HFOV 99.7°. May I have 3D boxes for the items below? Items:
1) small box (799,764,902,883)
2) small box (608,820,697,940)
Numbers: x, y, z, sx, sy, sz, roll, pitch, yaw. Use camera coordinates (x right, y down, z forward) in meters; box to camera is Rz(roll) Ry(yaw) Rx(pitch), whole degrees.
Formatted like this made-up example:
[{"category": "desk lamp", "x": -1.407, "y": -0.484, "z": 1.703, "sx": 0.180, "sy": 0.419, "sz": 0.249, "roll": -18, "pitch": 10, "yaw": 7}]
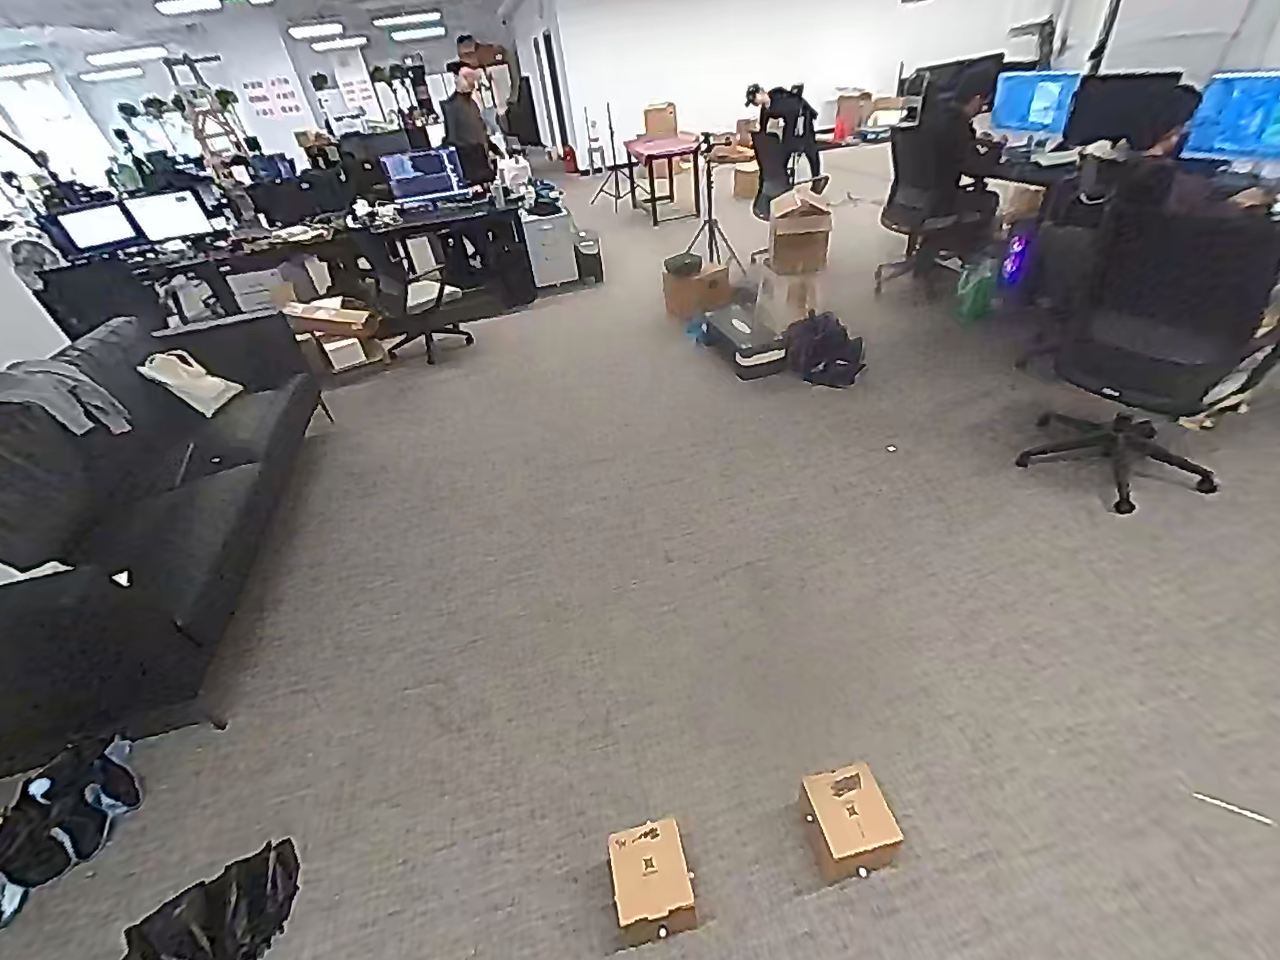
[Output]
[{"category": "small box", "x": 0.492, "y": 0.824, "z": 1.298, "sx": 0.168, "sy": 0.176, "sz": 0.179, "roll": -13, "pitch": 39, "yaw": -4}, {"category": "small box", "x": 0.030, "y": 0.934, "z": 1.257, "sx": 0.168, "sy": 0.176, "sz": 0.179, "roll": -13, "pitch": 38, "yaw": -4}]
